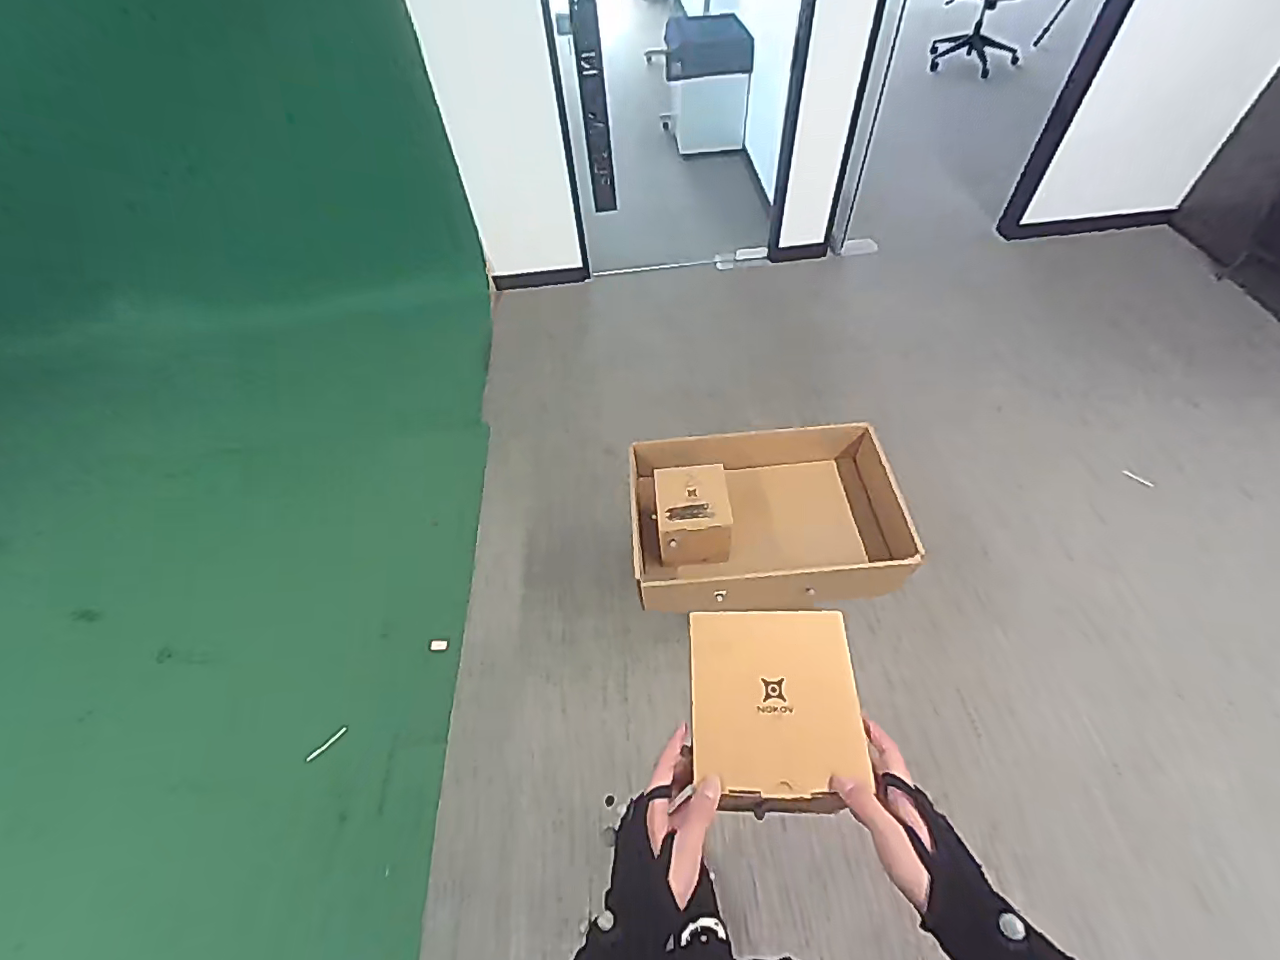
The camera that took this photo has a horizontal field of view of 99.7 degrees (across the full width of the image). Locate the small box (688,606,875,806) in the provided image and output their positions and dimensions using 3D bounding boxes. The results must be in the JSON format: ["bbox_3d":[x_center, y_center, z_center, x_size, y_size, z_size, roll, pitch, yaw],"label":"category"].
[{"bbox_3d":[0.139,0.255,0.606,0.168,0.176,0.179,-2,56,4],"label":"small box"}]
